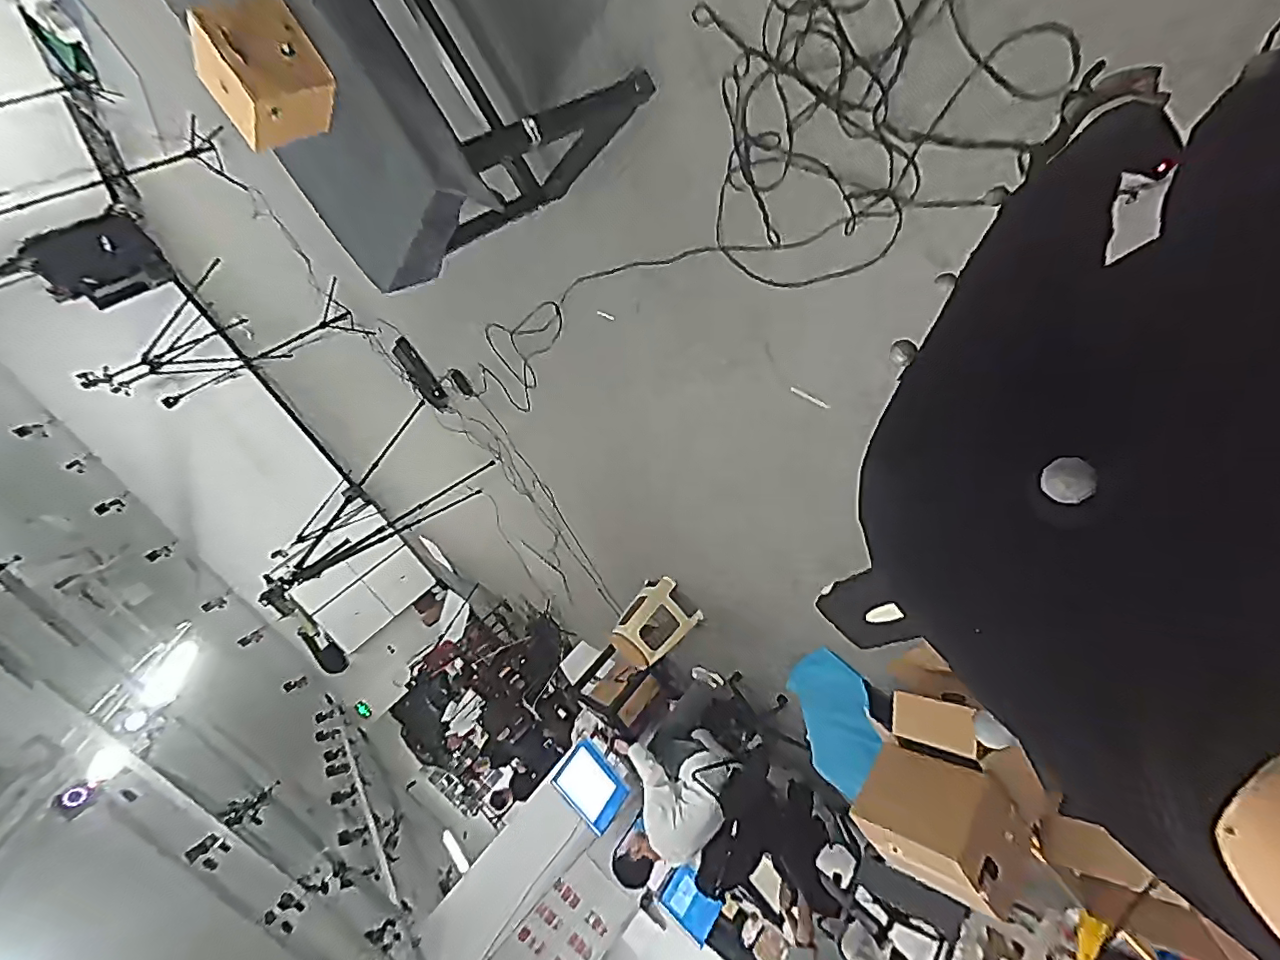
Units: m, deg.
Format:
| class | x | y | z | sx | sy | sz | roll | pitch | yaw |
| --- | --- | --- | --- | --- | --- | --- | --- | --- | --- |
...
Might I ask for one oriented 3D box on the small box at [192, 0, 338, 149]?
| class | x | y | z | sx | sy | sz | roll | pitch | yaw |
| --- | --- | --- | --- | --- | --- | --- | --- | --- | --- |
| small box | -0.726 | -0.797 | 1.063 | 0.179 | 0.176 | 0.168 | -6 | 121 | 54 |
